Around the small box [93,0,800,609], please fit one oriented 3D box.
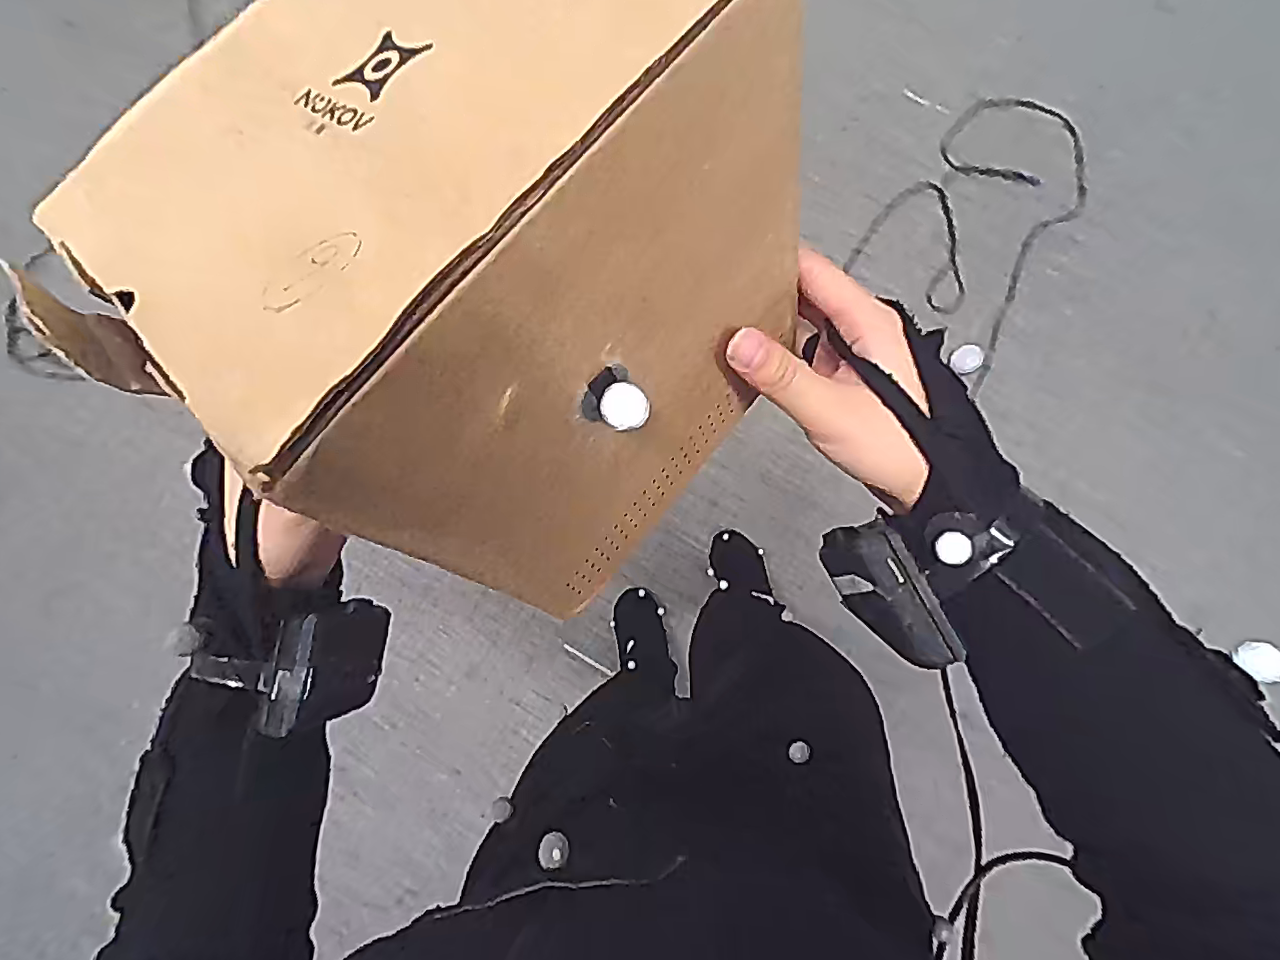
[{"bbox_3d":[-0.049,-0.068,0.227,0.168,0.176,0.179,37,82,25],"label":"small box"}]
